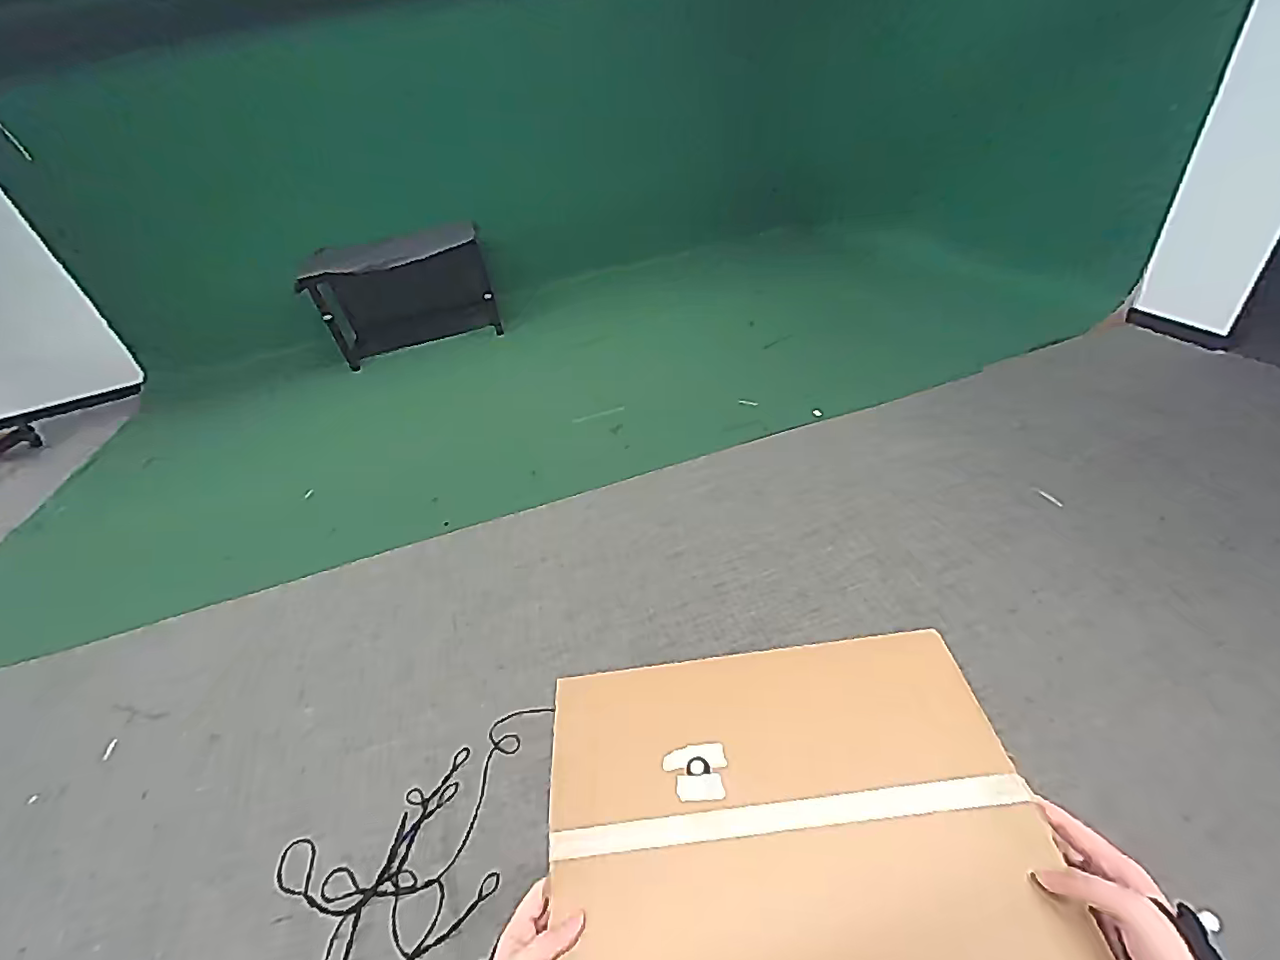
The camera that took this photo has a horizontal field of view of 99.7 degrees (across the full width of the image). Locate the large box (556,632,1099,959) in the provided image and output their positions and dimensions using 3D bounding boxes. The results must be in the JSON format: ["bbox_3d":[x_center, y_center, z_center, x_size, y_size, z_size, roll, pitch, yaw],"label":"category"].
[{"bbox_3d":[0.147,0.404,0.574,0.408,0.320,0.320,-10,43,4],"label":"large box"}]
